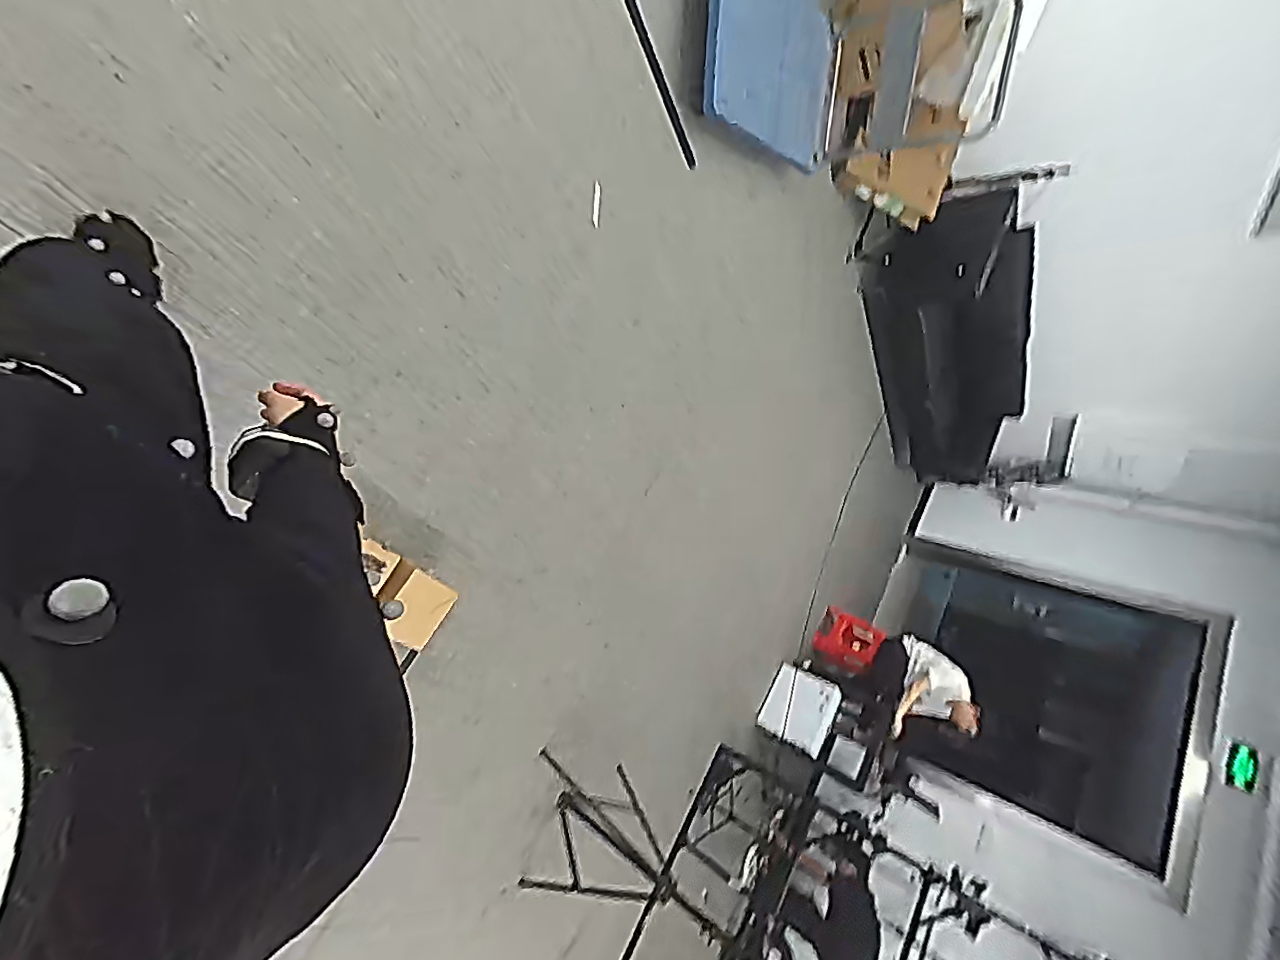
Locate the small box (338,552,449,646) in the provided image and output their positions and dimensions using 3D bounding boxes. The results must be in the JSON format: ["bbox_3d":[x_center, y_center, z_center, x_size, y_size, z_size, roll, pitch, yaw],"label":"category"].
[{"bbox_3d":[-0.652,0.323,1.442,0.179,0.176,0.168,-58,139,-19],"label":"small box"}]
